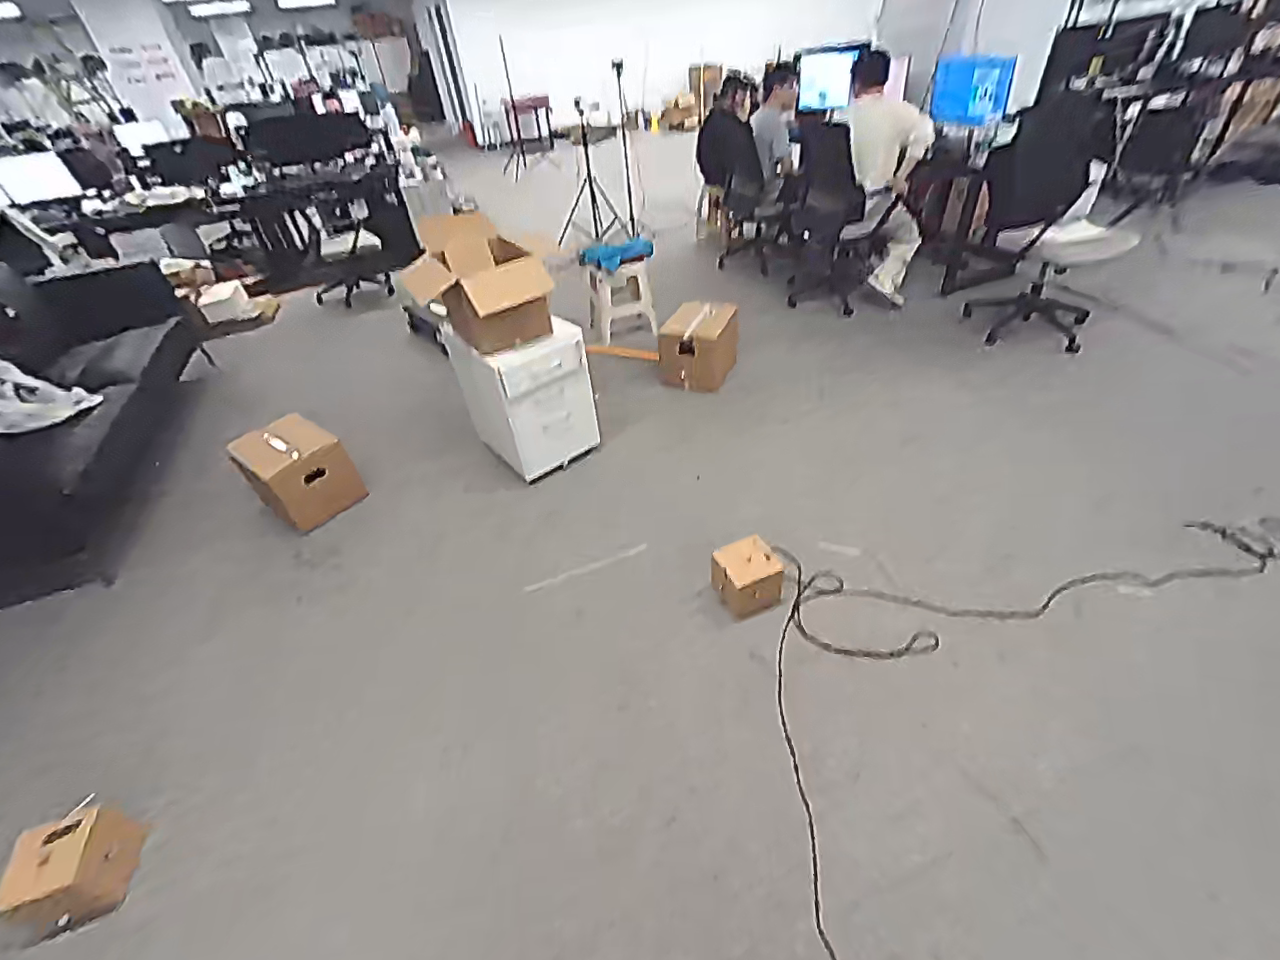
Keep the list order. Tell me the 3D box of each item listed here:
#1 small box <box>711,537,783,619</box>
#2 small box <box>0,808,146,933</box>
[{"bbox_3d":[0.351,0.326,1.781,0.179,0.176,0.168,-20,42,-14],"label":"small box"},{"bbox_3d":[-1.357,0.944,1.307,0.168,0.176,0.179,-17,41,-12],"label":"small box"}]
